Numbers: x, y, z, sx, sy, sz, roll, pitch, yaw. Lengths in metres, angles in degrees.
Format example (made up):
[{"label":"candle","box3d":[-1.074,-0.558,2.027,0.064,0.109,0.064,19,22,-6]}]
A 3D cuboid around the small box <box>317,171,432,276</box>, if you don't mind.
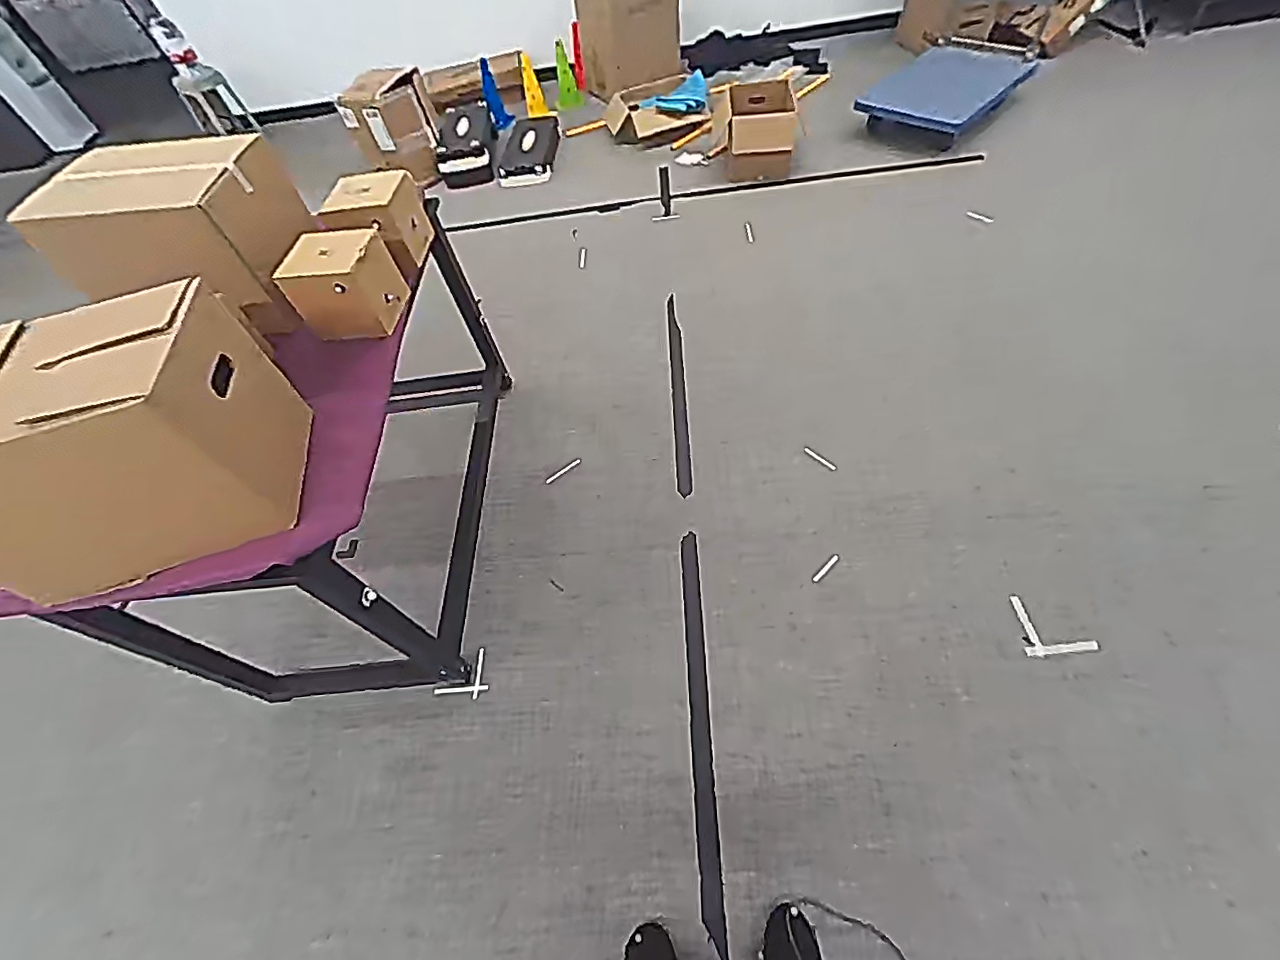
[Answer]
[{"label":"small box","box3d":[-0.647,-0.633,1.345,0.179,0.176,0.168,-4,54,7]}]
